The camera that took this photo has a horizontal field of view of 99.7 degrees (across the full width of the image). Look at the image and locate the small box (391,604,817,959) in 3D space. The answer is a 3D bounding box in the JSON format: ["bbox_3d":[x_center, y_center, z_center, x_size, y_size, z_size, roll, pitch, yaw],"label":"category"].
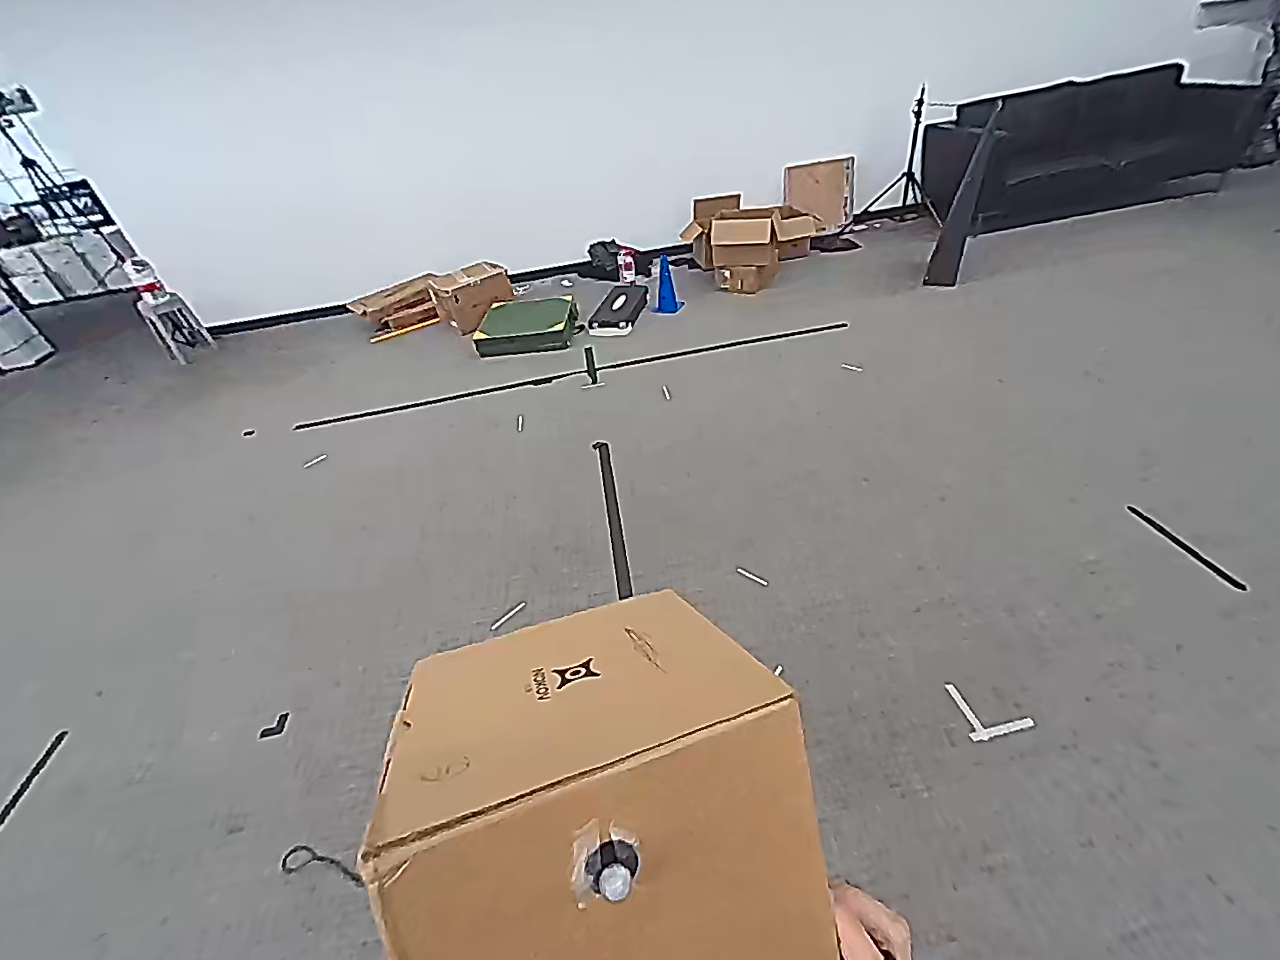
[{"bbox_3d":[-0.019,0.194,0.311,0.179,0.176,0.168,-12,7,-15],"label":"small box"}]
